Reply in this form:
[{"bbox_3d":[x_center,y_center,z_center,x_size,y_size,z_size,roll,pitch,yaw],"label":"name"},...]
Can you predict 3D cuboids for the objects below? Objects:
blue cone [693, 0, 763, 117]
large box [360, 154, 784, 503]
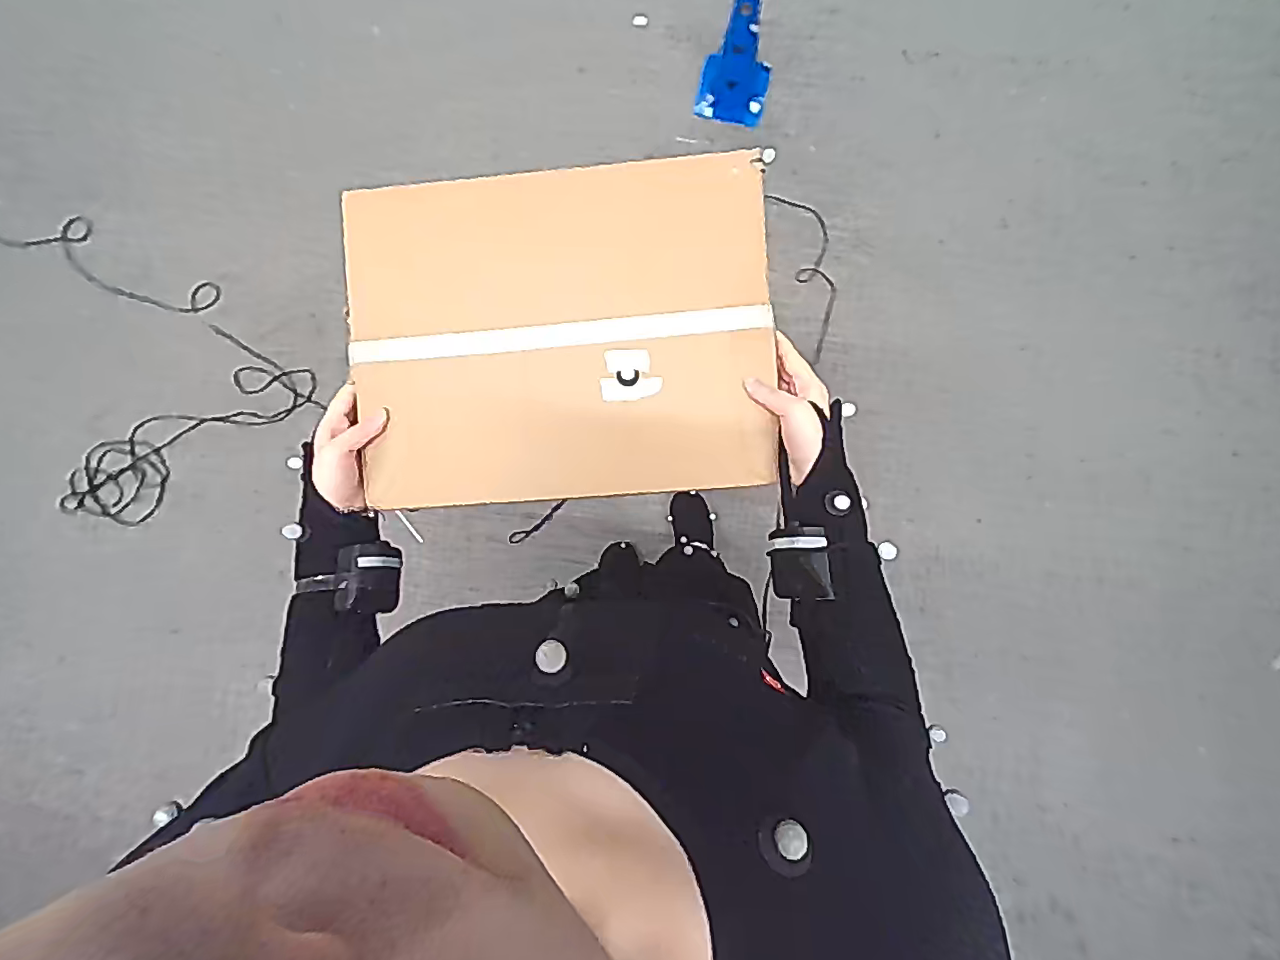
[{"bbox_3d":[0.255,-1.183,1.435,0.193,0.380,0.192,14,86,3],"label":"blue cone"},{"bbox_3d":[-0.065,-0.146,0.672,0.408,0.320,0.320,-3,91,2],"label":"large box"}]
